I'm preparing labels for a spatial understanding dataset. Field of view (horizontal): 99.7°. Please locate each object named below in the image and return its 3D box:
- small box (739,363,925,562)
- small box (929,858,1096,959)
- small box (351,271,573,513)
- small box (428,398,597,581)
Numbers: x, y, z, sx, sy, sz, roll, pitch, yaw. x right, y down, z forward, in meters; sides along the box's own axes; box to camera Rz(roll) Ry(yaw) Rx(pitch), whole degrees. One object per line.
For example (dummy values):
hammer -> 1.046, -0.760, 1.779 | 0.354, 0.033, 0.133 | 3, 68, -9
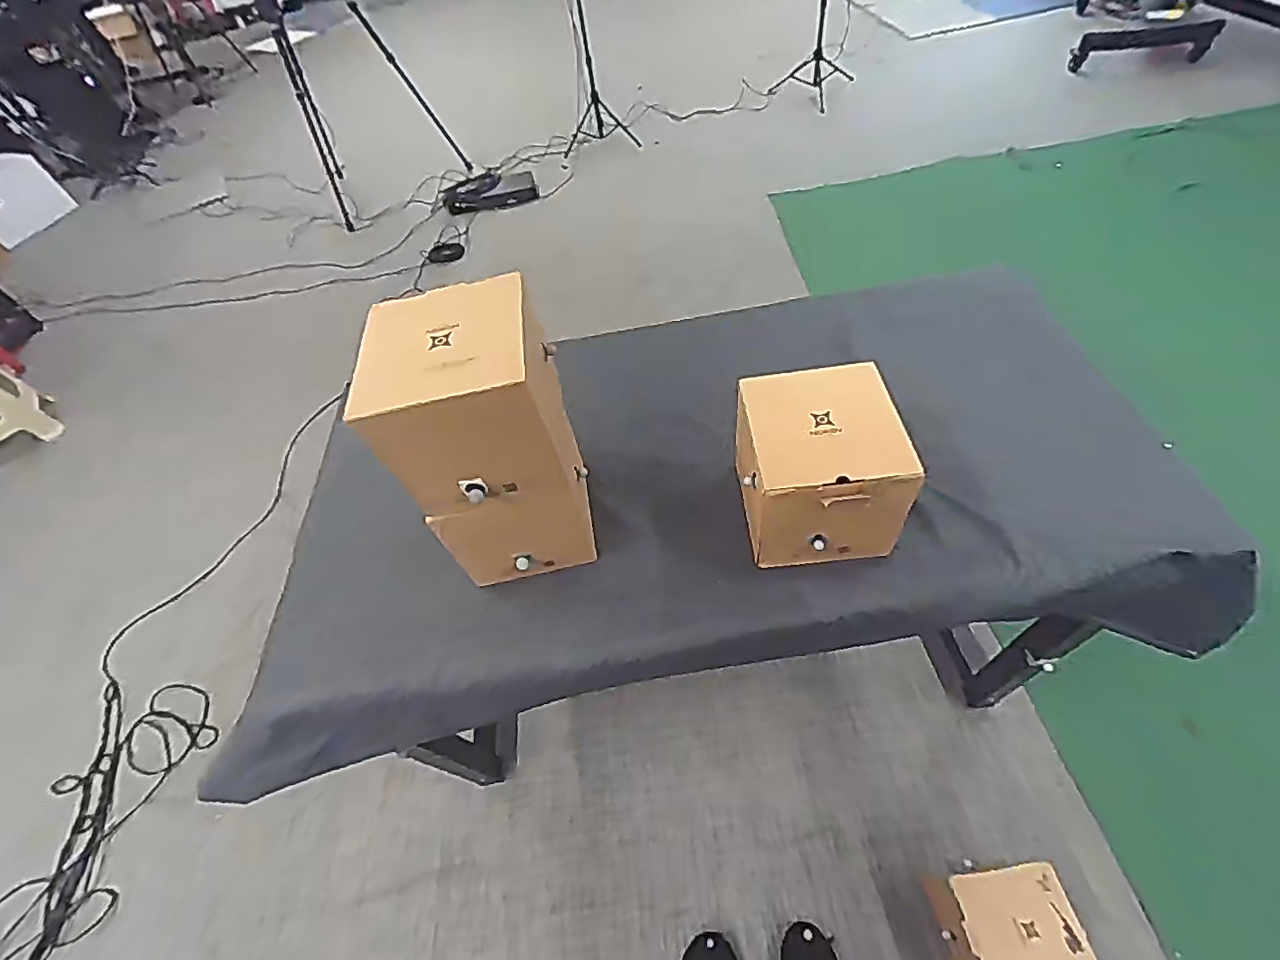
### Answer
small box -> 0.218, -0.018, 0.673 | 0.168, 0.176, 0.179 | -7, 53, 4
small box -> 0.626, 0.769, 0.931 | 0.179, 0.176, 0.168 | -10, 51, 2
small box -> -0.175, -0.091, 0.585 | 0.168, 0.176, 0.179 | -13, 53, 1
small box -> -0.159, 0.007, 0.713 | 0.168, 0.176, 0.179 | -13, 53, 0
